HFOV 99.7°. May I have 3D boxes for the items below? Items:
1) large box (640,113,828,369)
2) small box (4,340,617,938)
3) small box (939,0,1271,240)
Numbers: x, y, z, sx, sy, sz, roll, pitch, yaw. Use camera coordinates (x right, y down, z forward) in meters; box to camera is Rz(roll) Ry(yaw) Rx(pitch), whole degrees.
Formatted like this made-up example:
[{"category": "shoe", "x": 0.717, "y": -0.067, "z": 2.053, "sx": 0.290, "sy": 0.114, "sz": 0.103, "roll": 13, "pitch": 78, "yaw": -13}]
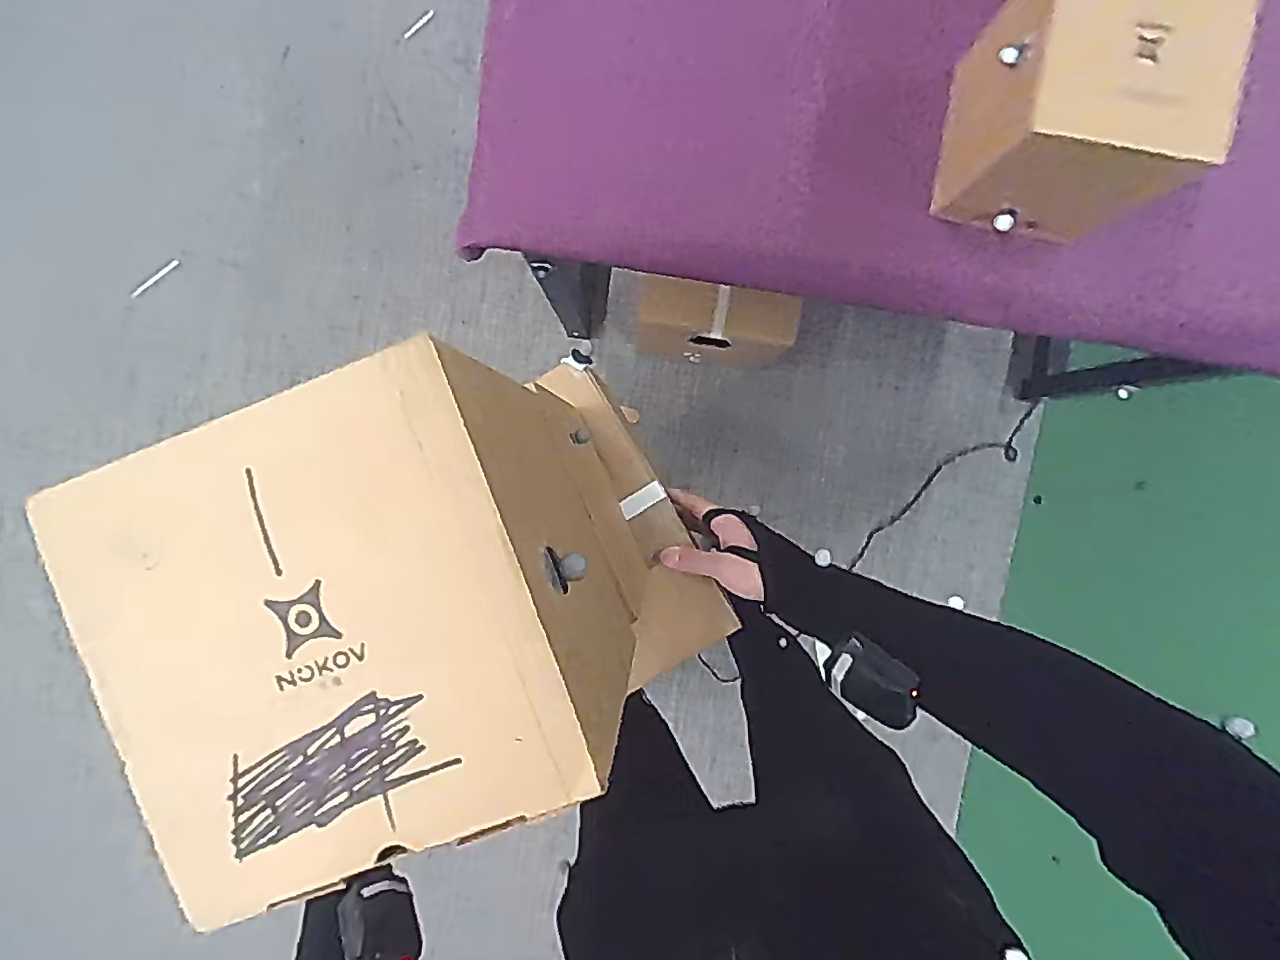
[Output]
[{"category": "large box", "x": 0.179, "y": -0.480, "z": 1.174, "sx": 0.320, "sy": 0.320, "sz": 0.408, "roll": 9, "pitch": 91, "yaw": -1}, {"category": "small box", "x": -0.120, "y": 0.057, "z": 0.270, "sx": 0.168, "sy": 0.176, "sz": 0.179, "roll": -22, "pitch": 89, "yaw": 4}, {"category": "small box", "x": 0.419, "y": -0.362, "z": 0.517, "sx": 0.168, "sy": 0.176, "sz": 0.179, "roll": 11, "pitch": 92, "yaw": 0}]
